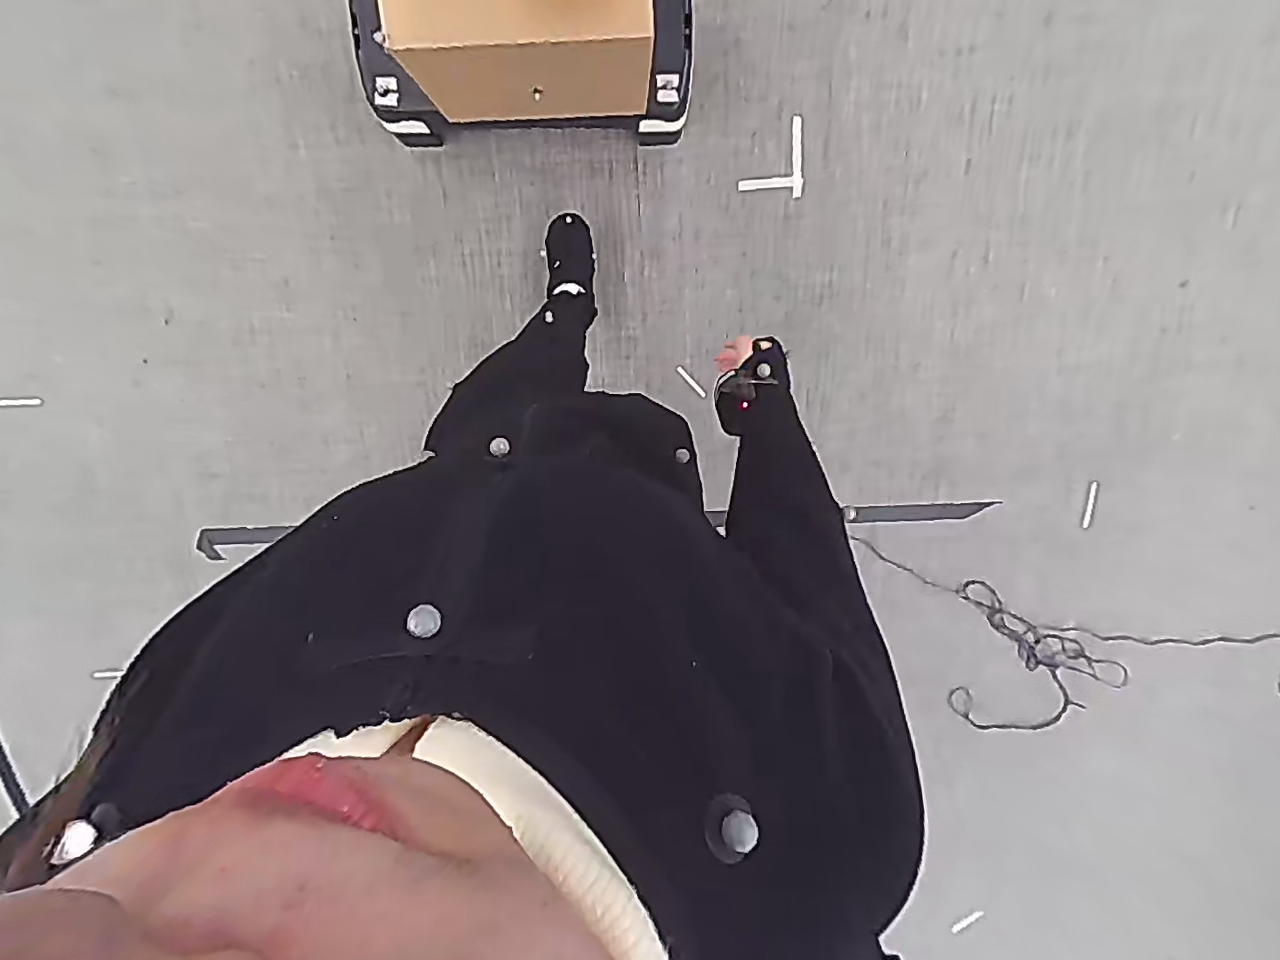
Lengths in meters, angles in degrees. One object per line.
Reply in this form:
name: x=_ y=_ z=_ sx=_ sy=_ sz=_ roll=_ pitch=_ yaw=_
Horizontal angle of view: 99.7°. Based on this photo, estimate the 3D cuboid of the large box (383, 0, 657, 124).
large box: x=-0.184 y=-0.833 z=0.907 sx=0.408 sy=0.320 sz=0.320 roll=-3 pitch=105 yaw=0
